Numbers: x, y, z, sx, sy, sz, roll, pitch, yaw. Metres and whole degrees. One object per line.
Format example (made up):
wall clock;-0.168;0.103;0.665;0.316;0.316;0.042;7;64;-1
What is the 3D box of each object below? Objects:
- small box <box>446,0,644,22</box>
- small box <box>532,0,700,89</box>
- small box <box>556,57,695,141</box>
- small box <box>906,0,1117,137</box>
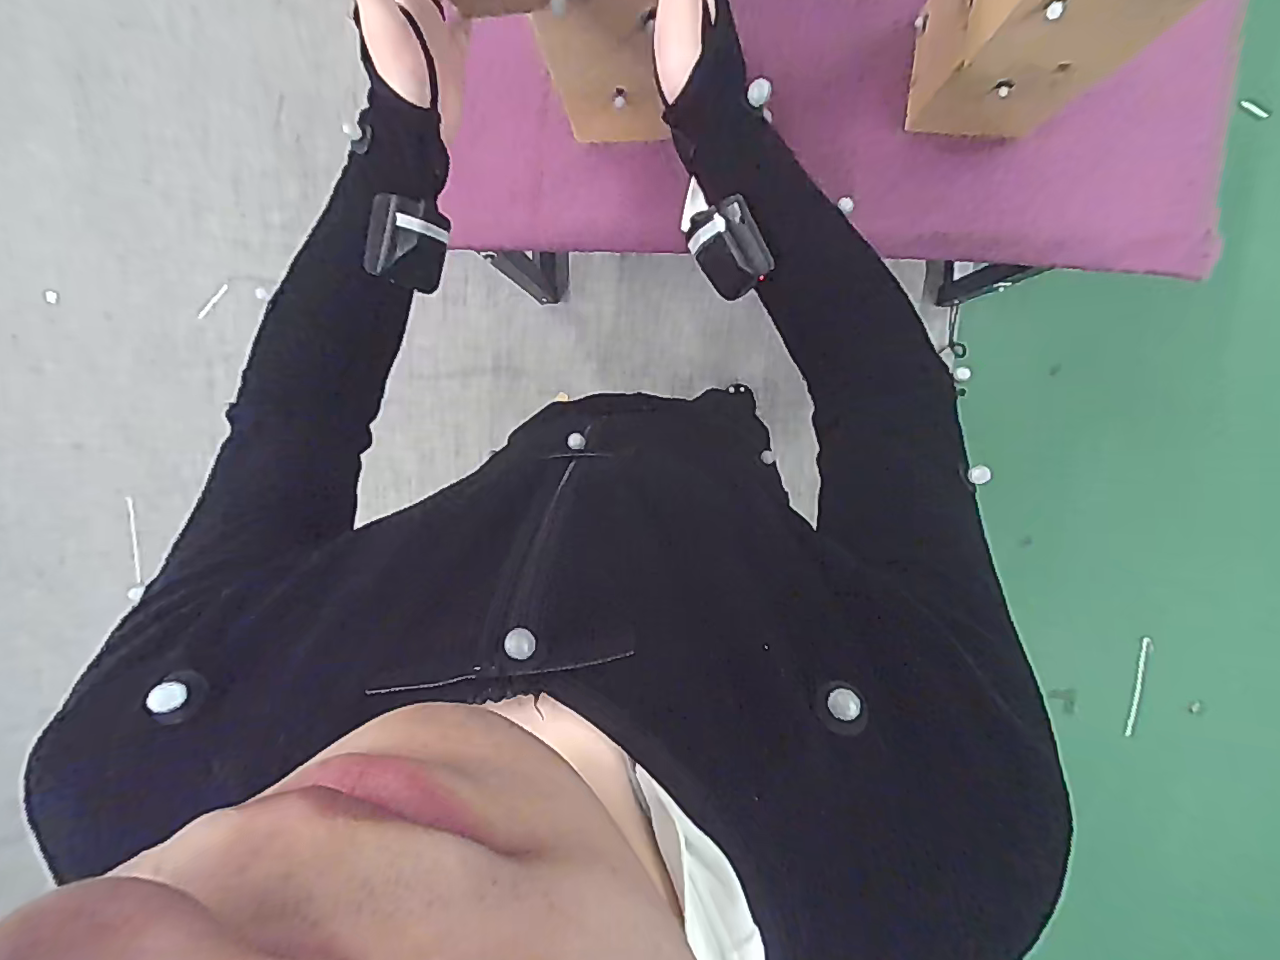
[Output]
small box;-0.071;-0.428;0.344;0.179;0.176;0.168;-1;113;5
small box;-0.022;-0.559;0.586;0.179;0.176;0.168;2;97;3
small box;-0.015;-0.596;0.748;0.179;0.176;0.168;0;98;4
small box;0.482;-0.586;0.720;0.179;0.176;0.168;5;98;2
